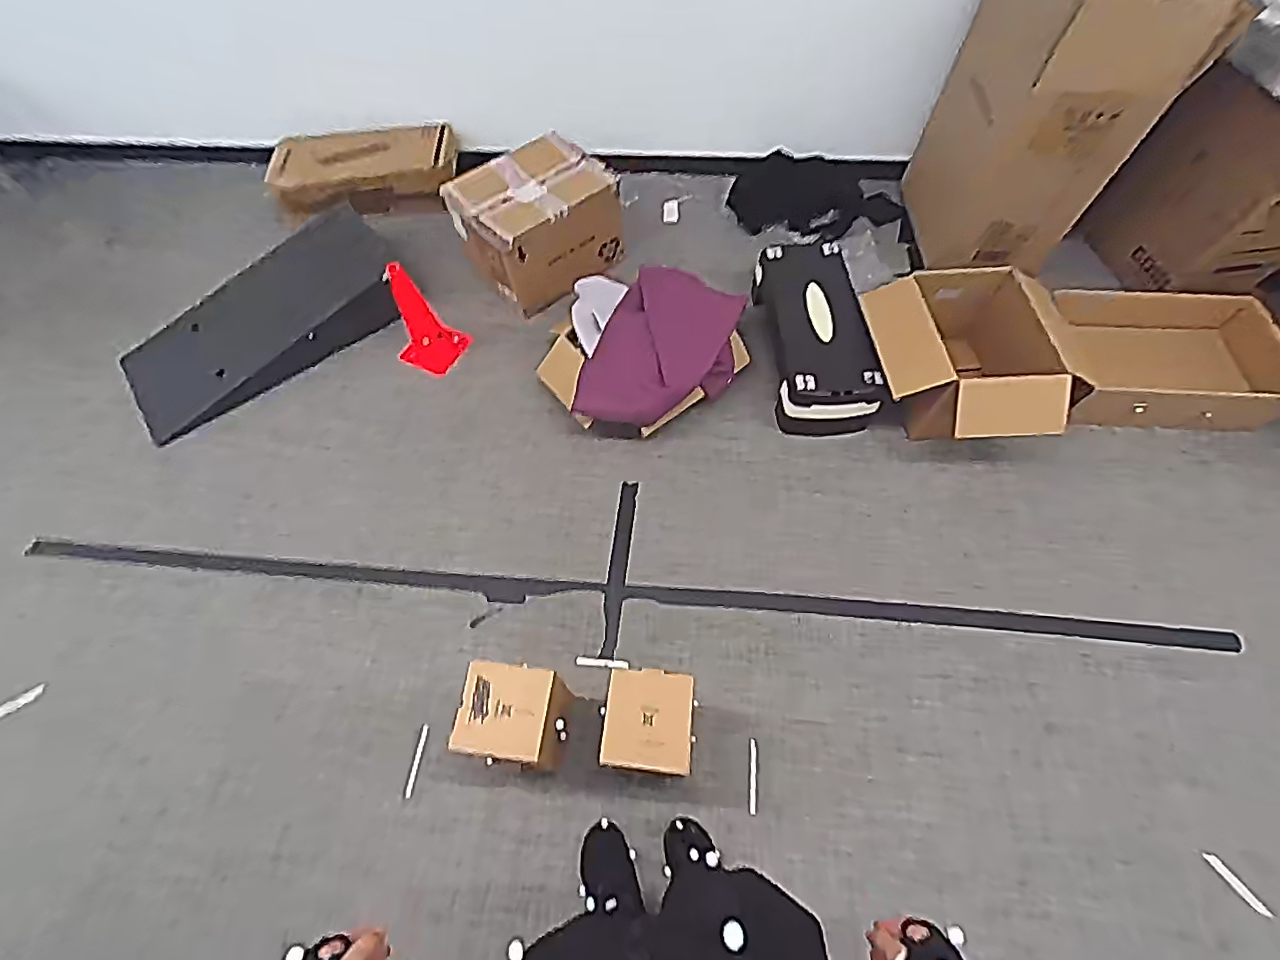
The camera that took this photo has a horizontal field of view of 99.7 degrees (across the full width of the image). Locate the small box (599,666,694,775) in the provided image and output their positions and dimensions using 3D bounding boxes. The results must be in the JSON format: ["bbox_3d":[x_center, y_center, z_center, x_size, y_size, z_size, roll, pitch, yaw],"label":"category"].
[{"bbox_3d":[0.017,0.488,1.095,0.168,0.176,0.179,5,63,5],"label":"small box"}]

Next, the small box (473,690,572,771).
[{"bbox_3d":[-0.260,0.563,1.248,0.168,0.176,0.179,6,62,6],"label":"small box"}]

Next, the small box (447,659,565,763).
[{"bbox_3d":[-0.263,0.477,1.107,0.179,0.176,0.168,6,62,5],"label":"small box"}]

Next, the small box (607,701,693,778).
[{"bbox_3d":[0.026,0.577,1.232,0.179,0.176,0.168,3,61,4],"label":"small box"}]
